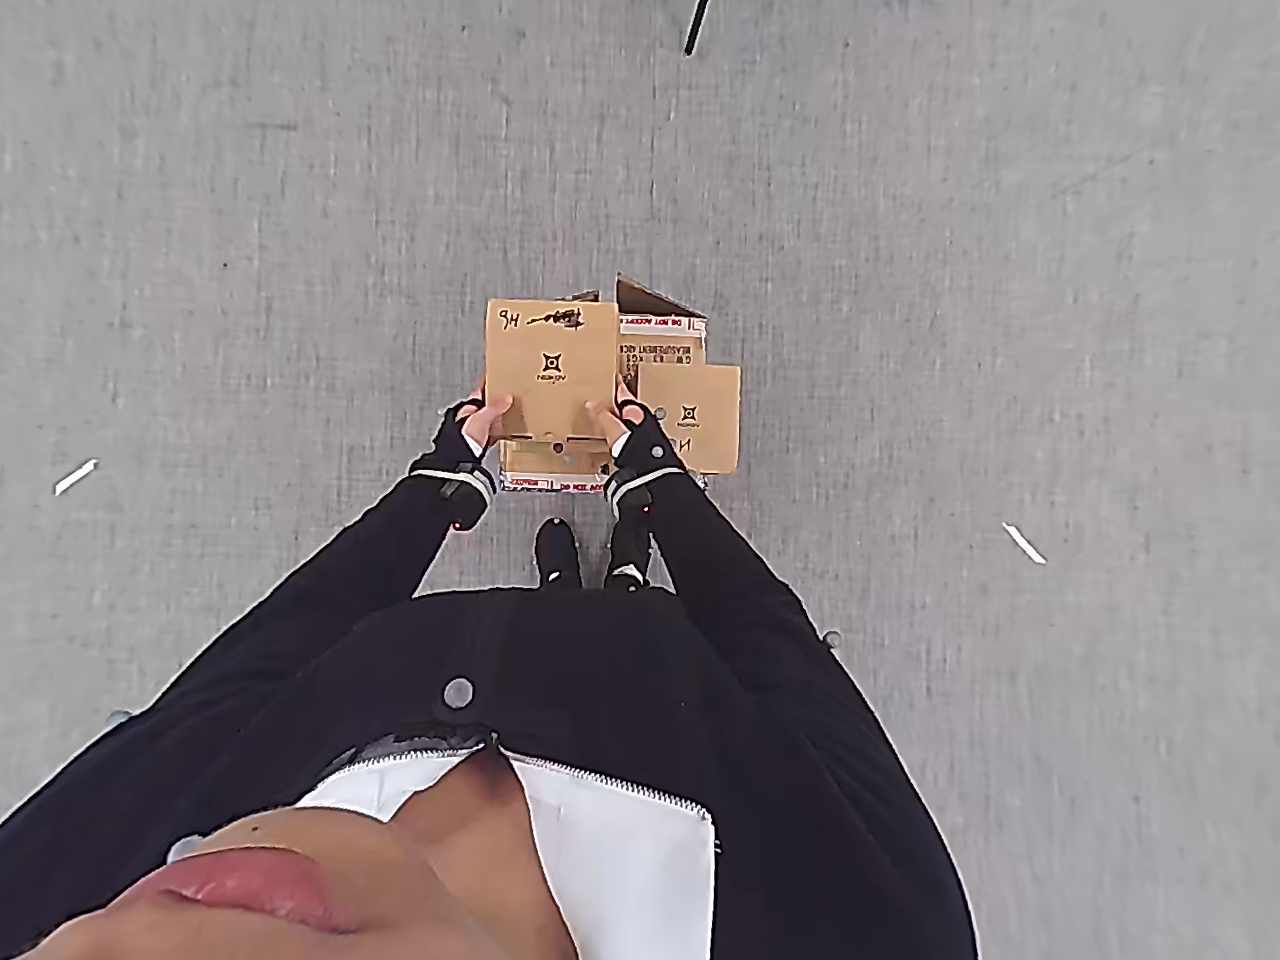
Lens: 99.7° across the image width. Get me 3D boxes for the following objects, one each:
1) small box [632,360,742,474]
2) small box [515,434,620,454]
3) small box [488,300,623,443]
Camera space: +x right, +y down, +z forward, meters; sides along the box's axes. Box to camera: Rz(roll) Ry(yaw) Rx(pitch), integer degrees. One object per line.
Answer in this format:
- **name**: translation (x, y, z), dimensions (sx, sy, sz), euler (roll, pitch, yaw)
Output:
- **small box**: translation (0.074, -0.100, 0.935), dimensions (0.168, 0.176, 0.179), euler (1, 91, -4)
- **small box**: translation (-0.117, -0.134, 0.926), dimensions (0.168, 0.176, 0.179), euler (-1, 93, -1)
- **small box**: translation (-0.110, -0.142, 0.762), dimensions (0.168, 0.176, 0.179), euler (1, 93, -1)
